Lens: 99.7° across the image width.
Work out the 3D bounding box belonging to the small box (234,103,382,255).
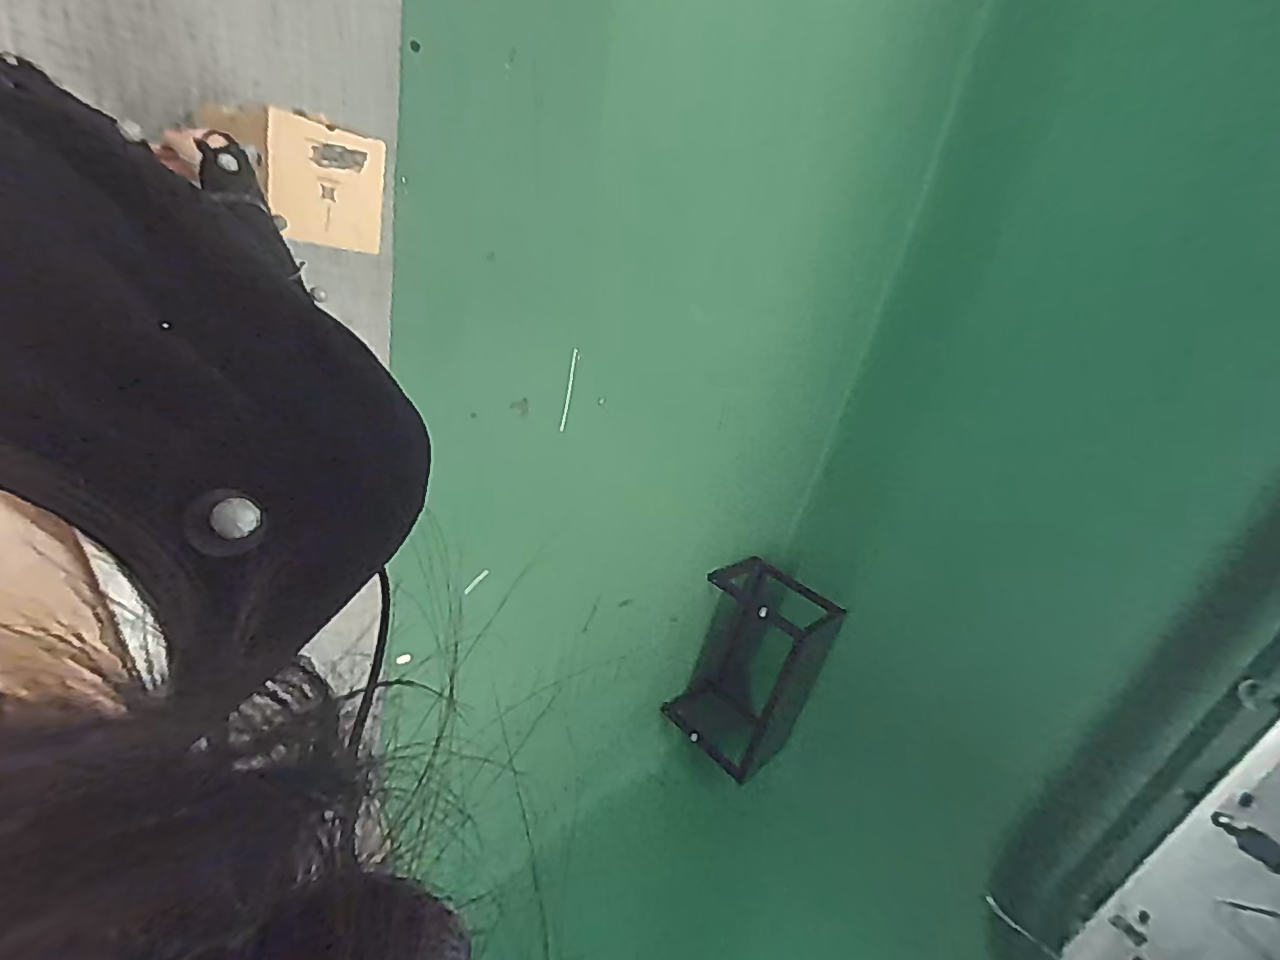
[{"bbox_3d":[-0.548,-0.492,0.888,0.168,0.176,0.179,-9,123,-47],"label":"small box"}]

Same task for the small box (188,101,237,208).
[{"bbox_3d":[-0.777,-0.624,1.083,0.179,0.176,0.168,2,113,-50],"label":"small box"}]
